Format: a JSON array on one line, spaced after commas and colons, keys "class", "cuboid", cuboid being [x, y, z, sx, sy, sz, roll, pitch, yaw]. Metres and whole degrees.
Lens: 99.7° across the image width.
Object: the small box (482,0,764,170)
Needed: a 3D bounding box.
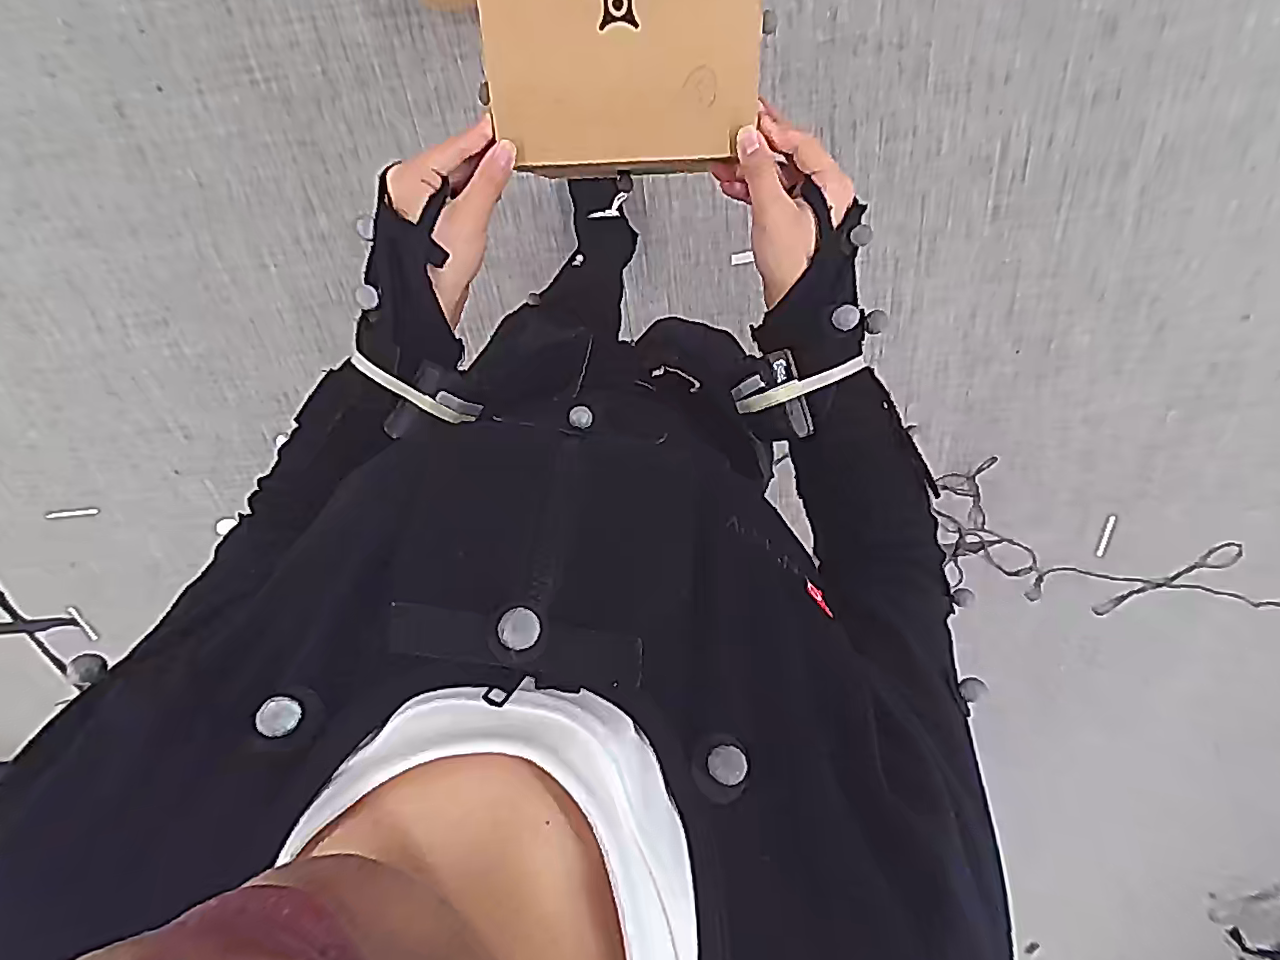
[{"class": "small box", "cuboid": [-0.007, -0.319, 0.376, 0.168, 0.176, 0.179, -1, 116, 2]}]
